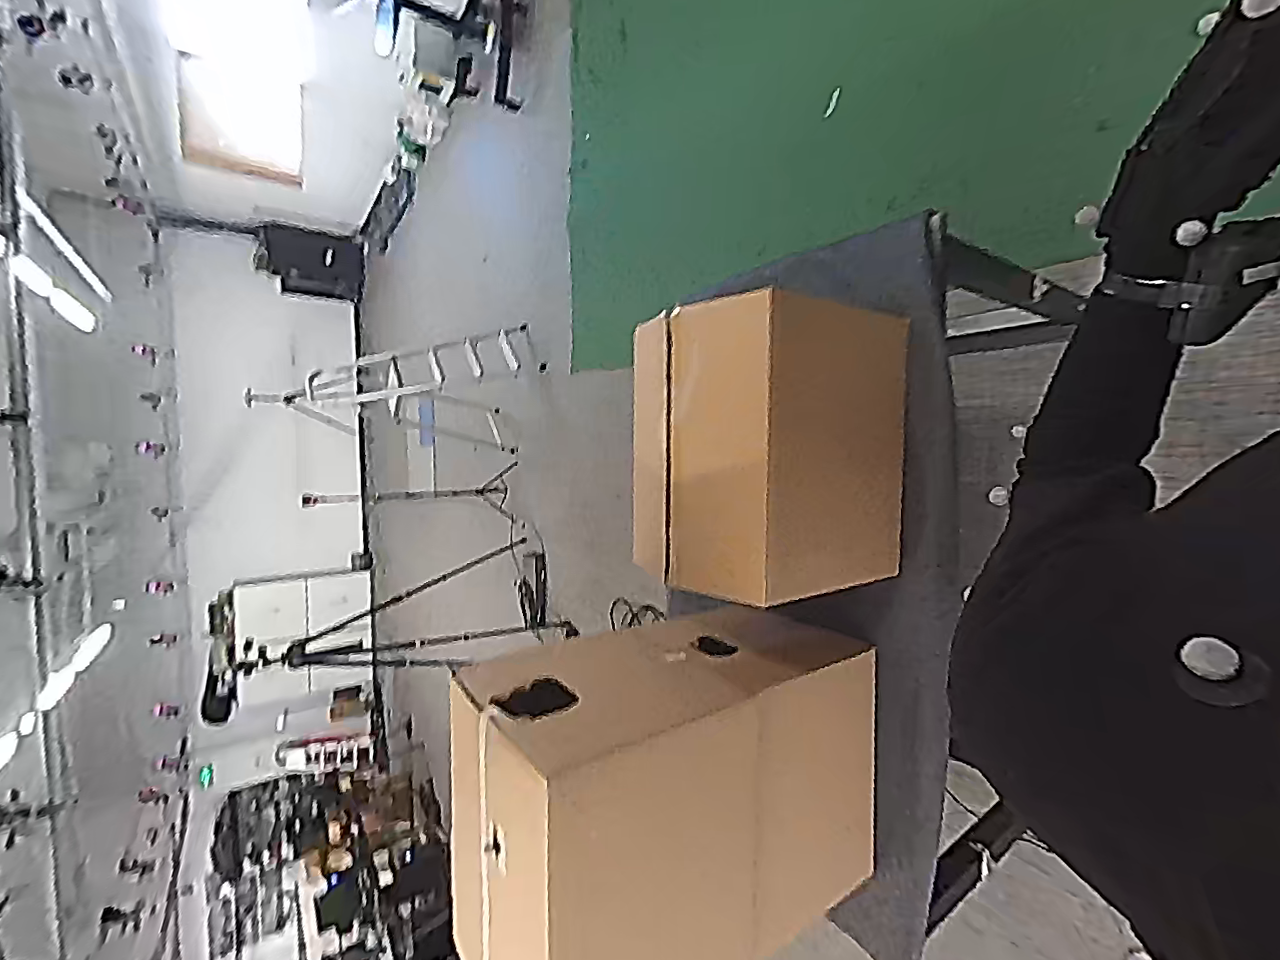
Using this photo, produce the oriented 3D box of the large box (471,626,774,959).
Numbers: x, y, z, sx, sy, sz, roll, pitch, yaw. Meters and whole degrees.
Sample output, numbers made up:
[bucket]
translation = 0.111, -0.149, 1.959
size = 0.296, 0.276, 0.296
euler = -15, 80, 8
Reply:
[large box]
translation = -0.031, 0.461, 0.749
size = 0.320, 0.320, 0.408
euler = 4, 95, 53
